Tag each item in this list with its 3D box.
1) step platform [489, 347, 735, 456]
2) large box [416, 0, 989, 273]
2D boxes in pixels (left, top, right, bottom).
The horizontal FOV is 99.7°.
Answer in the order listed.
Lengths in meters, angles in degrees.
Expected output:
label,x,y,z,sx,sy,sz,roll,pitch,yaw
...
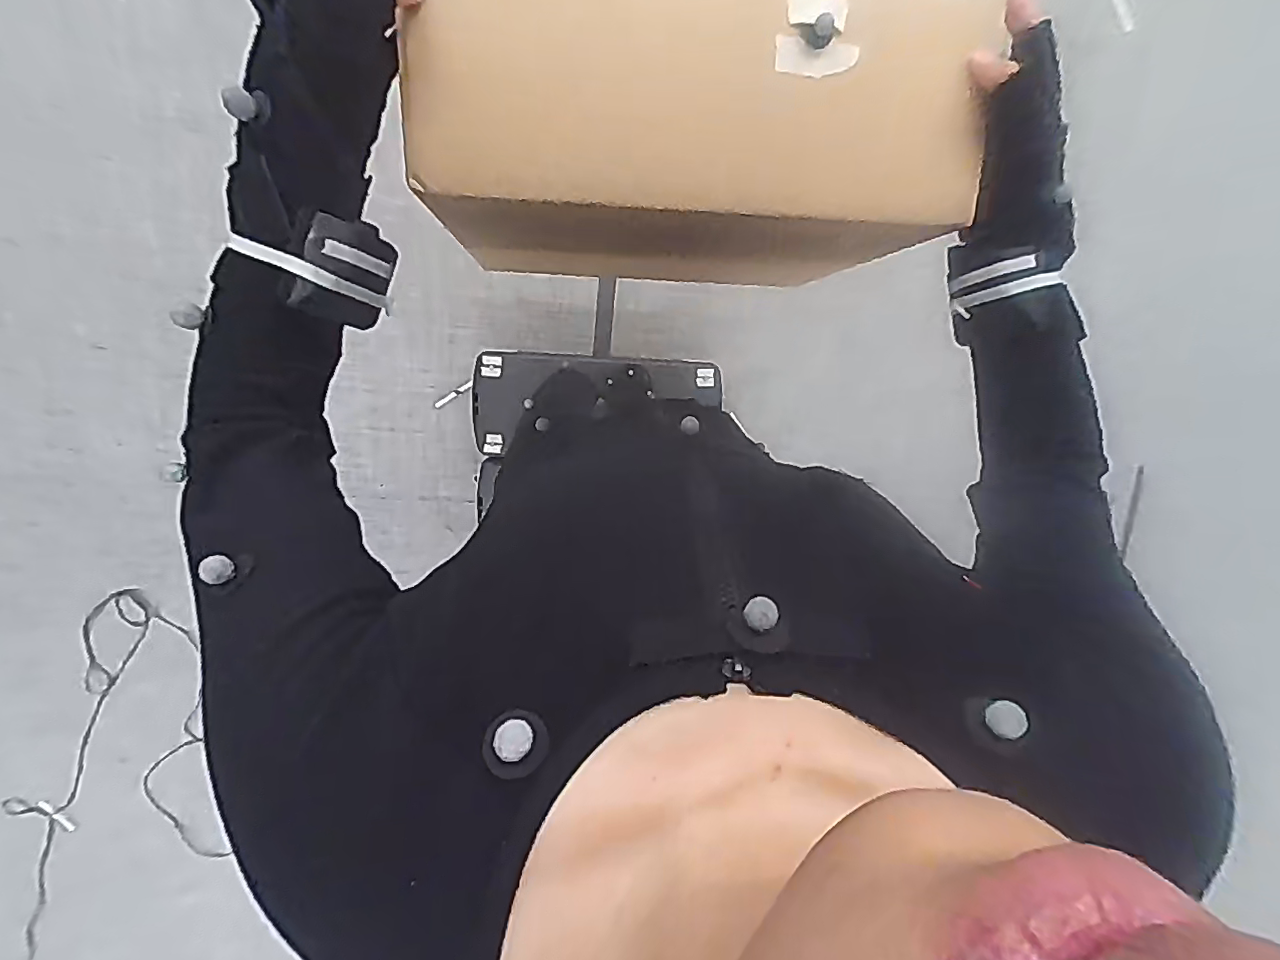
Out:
label,x,y,z,sx,sy,sz,roll,pitch,yaw
step platform,-0.075,-0.221,1.535,0.684,0.204,0.286,1,101,-6
large box,0.031,-0.382,0.503,0.408,0.320,0.320,-1,103,-8
